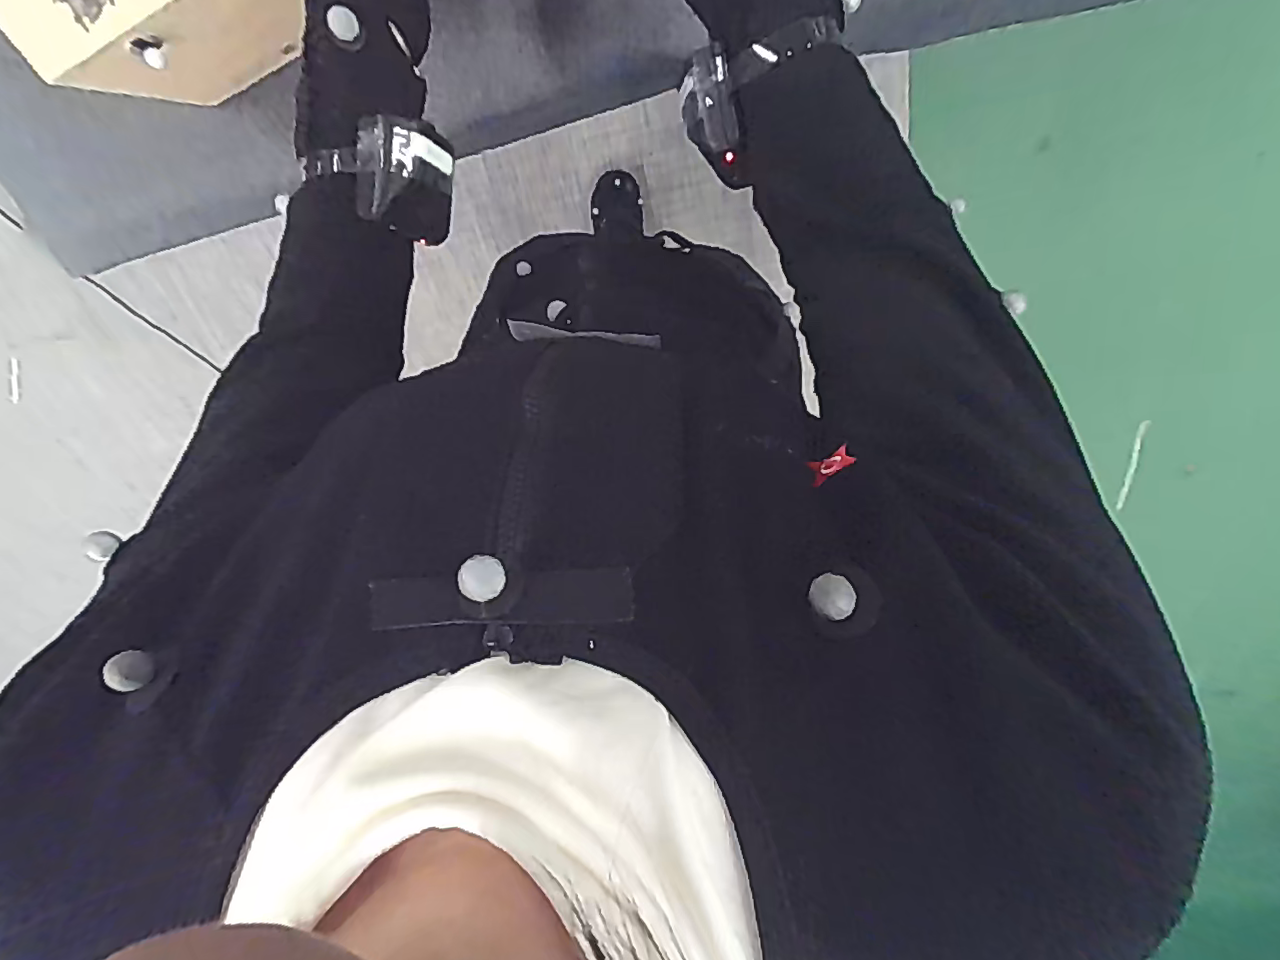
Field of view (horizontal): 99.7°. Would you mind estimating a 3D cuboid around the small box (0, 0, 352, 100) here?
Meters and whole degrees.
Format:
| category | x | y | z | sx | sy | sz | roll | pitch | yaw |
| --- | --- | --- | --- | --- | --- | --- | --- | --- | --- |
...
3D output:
| category | x | y | z | sx | sy | sz | roll | pitch | yaw |
| --- | --- | --- | --- | --- | --- | --- | --- | --- | --- |
| small box | -0.350 | -0.403 | 0.376 | 0.168 | 0.176 | 0.179 | -19 | 118 | 11 |
